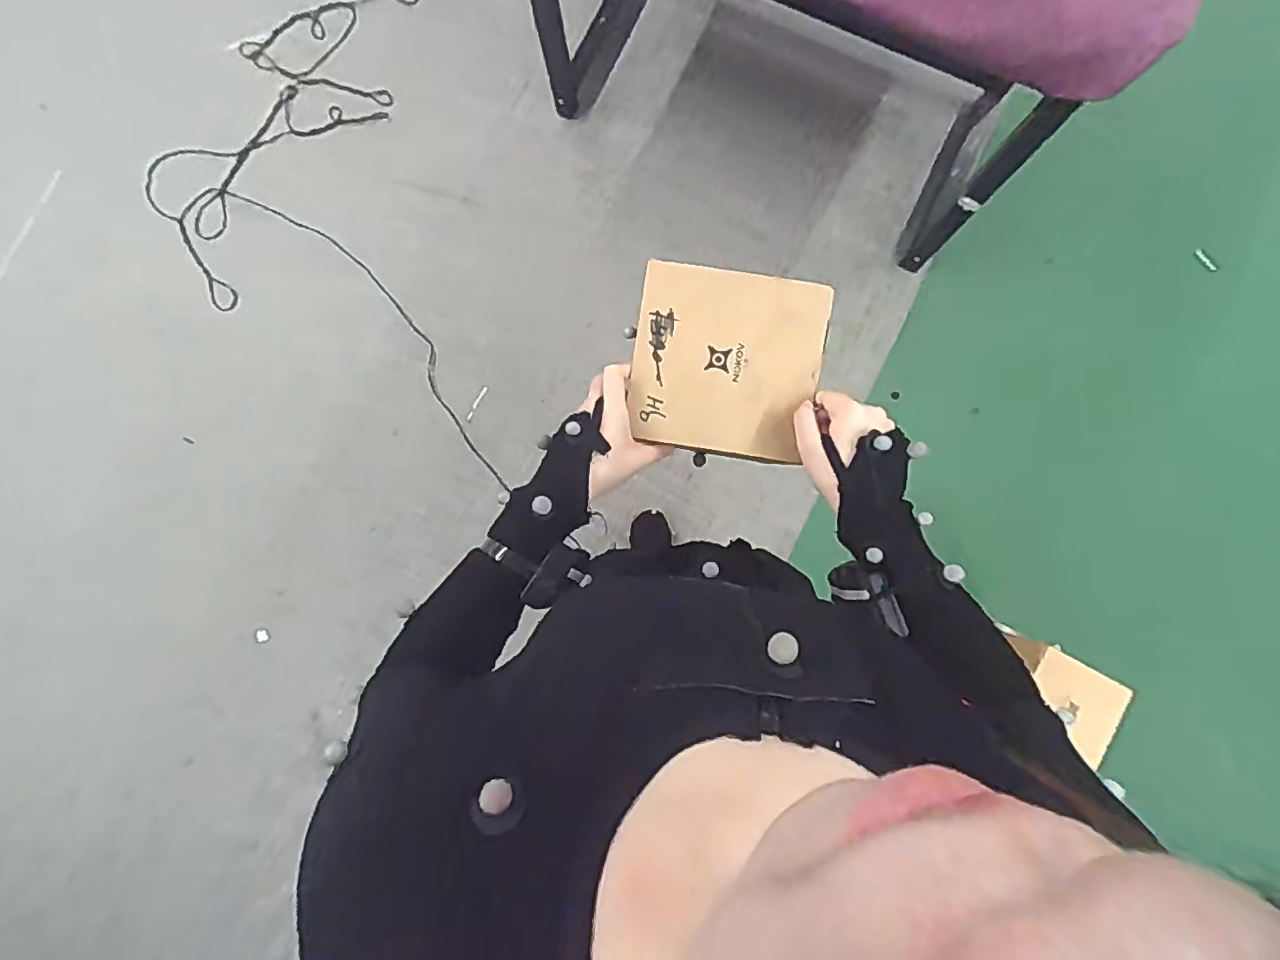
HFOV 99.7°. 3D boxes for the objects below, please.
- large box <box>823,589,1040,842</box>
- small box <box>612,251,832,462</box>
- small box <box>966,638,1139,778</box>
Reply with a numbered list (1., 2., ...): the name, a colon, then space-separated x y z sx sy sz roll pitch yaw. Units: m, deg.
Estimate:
1. large box: 0.703 0.521 1.293 0.320 0.320 0.408 28 87 5
2. small box: 0.074 -0.115 0.565 0.179 0.176 0.168 9 92 0
3. small box: 0.790 0.429 1.054 0.179 0.176 0.168 29 87 4
